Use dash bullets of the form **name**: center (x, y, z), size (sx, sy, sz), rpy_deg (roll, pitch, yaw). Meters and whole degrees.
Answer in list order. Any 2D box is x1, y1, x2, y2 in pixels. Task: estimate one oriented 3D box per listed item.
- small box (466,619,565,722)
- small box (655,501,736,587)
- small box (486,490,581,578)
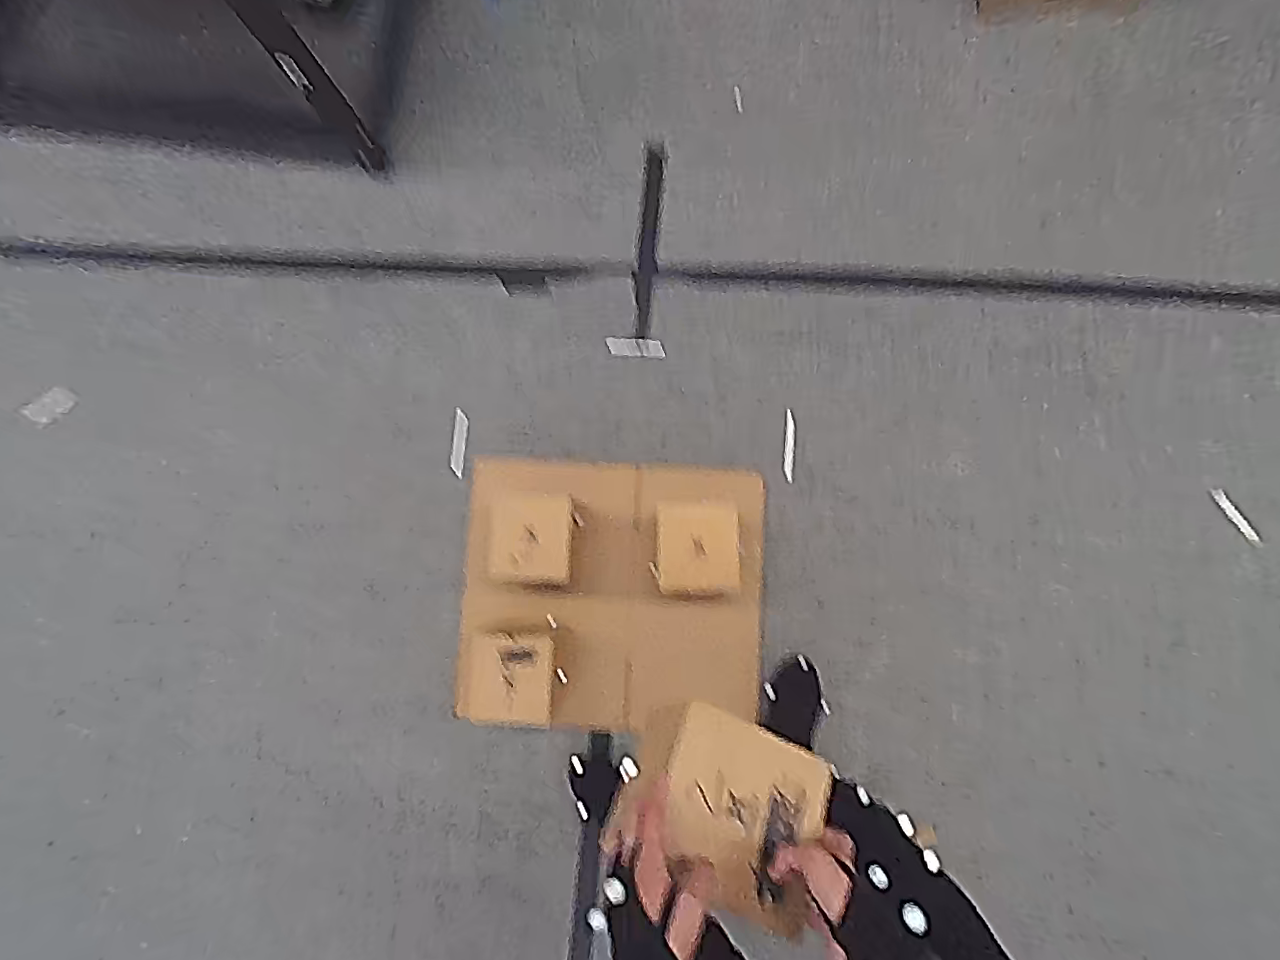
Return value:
- **small box**: center (-0.261, 0.401, 1.169), size (0.168, 0.176, 0.179), rpy_deg (2, 85, 4)
- **small box**: center (0.116, 0.139, 1.182), size (0.168, 0.176, 0.179), rpy_deg (-1, 84, 3)
- **small box**: center (-0.227, 0.119, 1.194), size (0.168, 0.176, 0.179), rpy_deg (2, 85, 4)
